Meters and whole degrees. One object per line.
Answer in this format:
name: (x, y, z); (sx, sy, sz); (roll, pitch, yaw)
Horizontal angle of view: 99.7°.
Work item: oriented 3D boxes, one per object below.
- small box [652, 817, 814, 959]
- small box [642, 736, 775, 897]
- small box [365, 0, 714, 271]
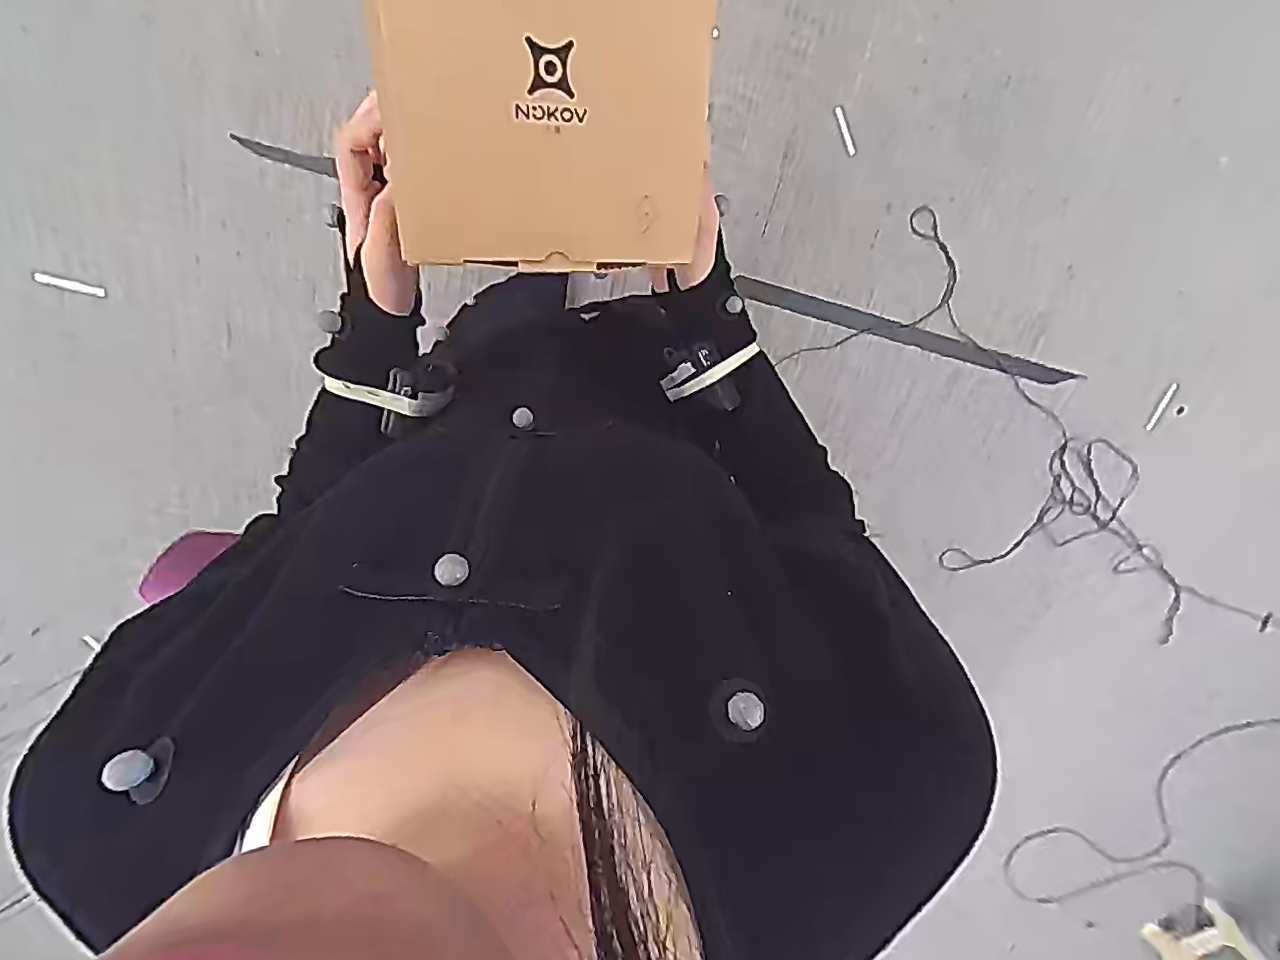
small box: (0.113, 0.601, 0.747); (0.168, 0.176, 0.179); (7, 110, -6)
small box: (0.102, 0.562, 0.907); (0.168, 0.176, 0.179); (11, 110, -8)
small box: (-0.062, -0.236, 0.339); (0.168, 0.176, 0.179); (-4, 118, -13)
